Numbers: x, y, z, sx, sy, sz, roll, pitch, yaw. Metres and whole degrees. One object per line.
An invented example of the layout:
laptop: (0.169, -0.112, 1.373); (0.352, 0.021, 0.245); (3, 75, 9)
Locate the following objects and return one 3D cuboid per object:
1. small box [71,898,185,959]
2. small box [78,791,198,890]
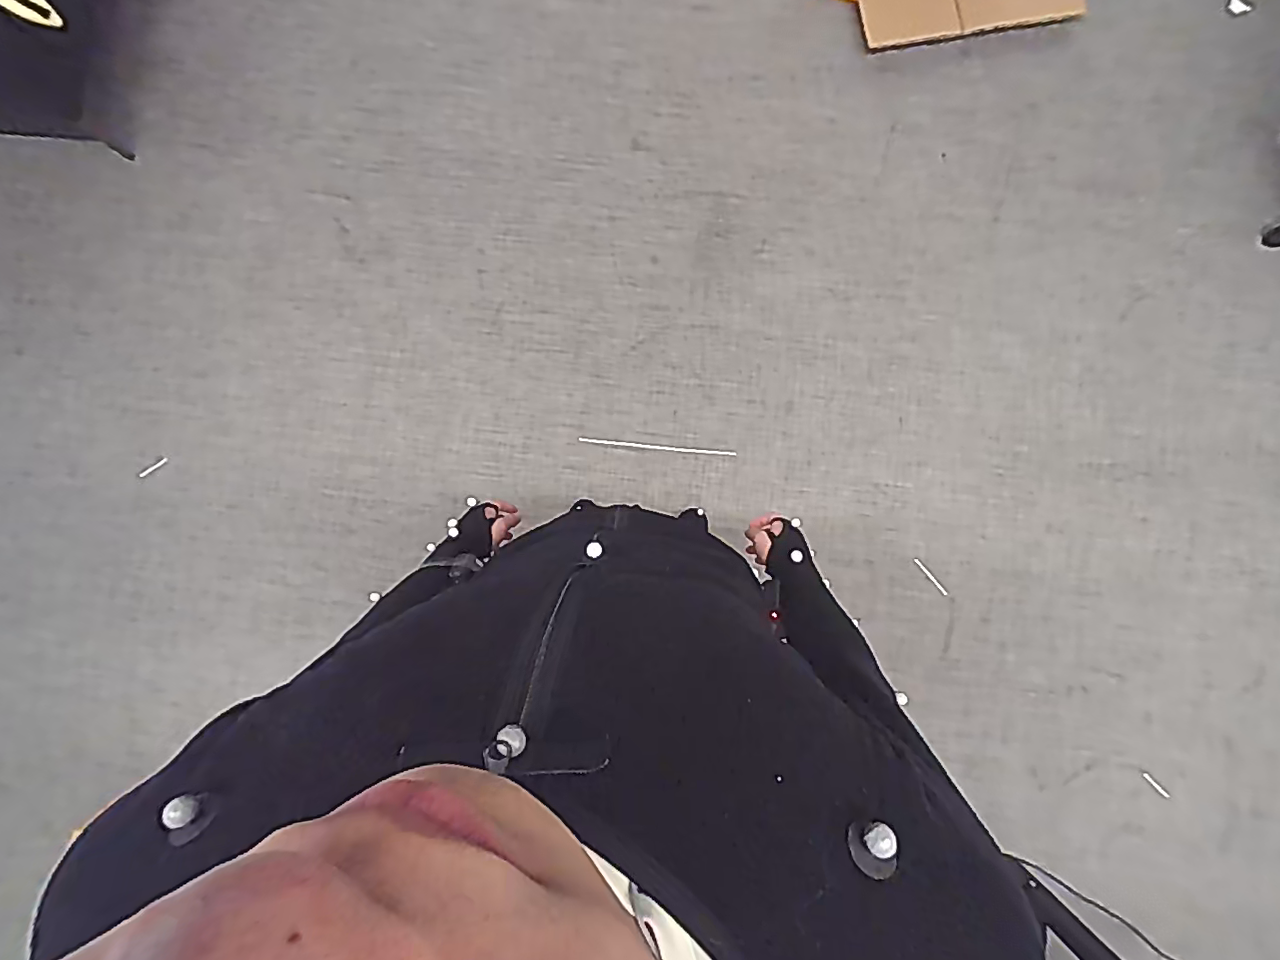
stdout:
small box: (-1.465, 1.343, 1.547); (0.179, 0.176, 0.168); (5, 87, 1)
small box: (-1.440, 1.029, 1.559); (0.179, 0.176, 0.168); (7, 88, 1)
